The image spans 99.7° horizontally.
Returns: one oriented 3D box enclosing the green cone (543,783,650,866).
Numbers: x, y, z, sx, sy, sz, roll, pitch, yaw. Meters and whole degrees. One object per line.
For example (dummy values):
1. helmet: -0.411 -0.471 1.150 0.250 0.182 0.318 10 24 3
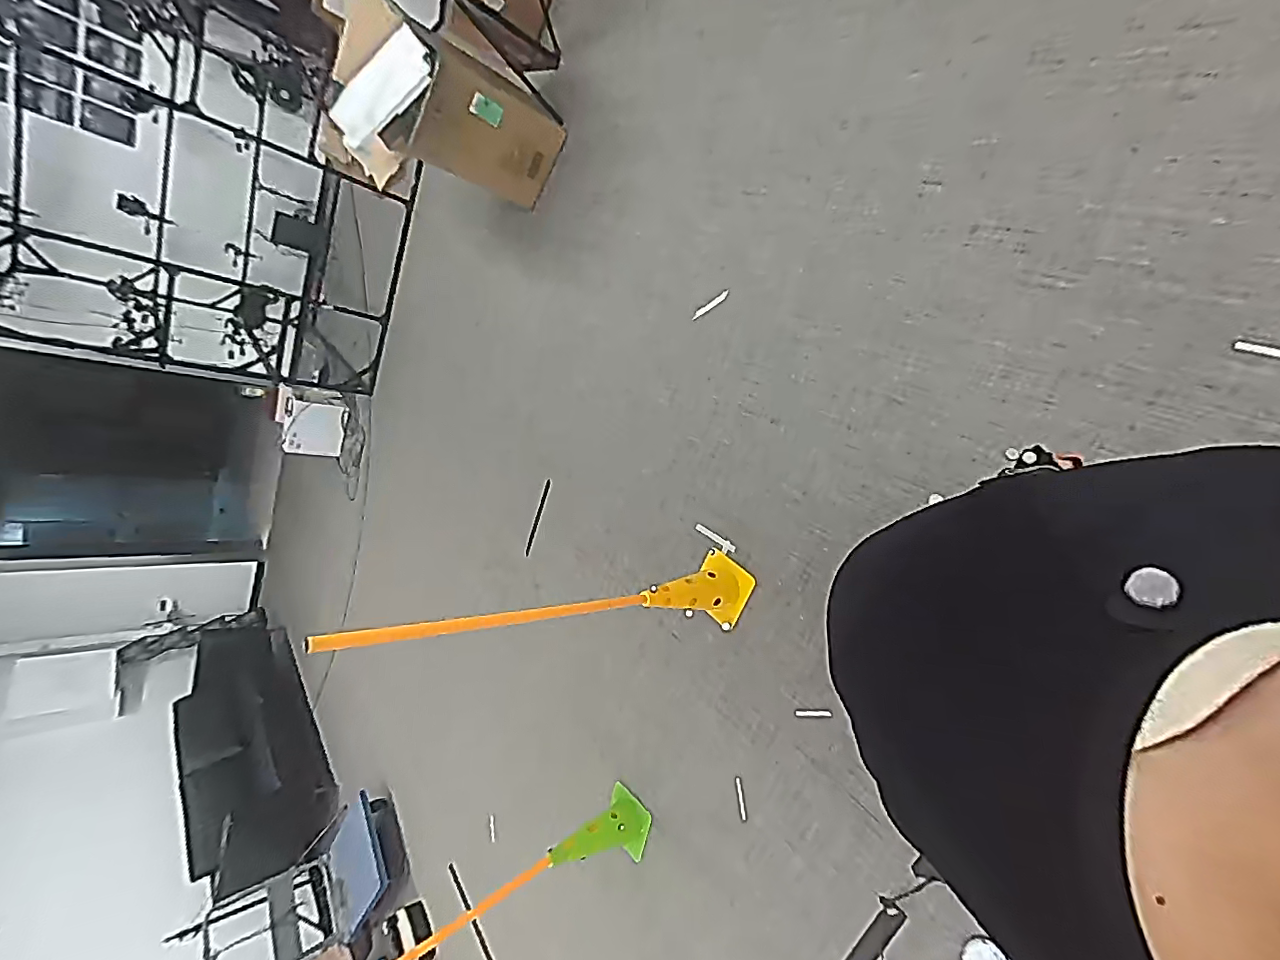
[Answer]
1. green cone: -0.169 1.227 1.842 0.200 0.368 0.202 21 100 44
